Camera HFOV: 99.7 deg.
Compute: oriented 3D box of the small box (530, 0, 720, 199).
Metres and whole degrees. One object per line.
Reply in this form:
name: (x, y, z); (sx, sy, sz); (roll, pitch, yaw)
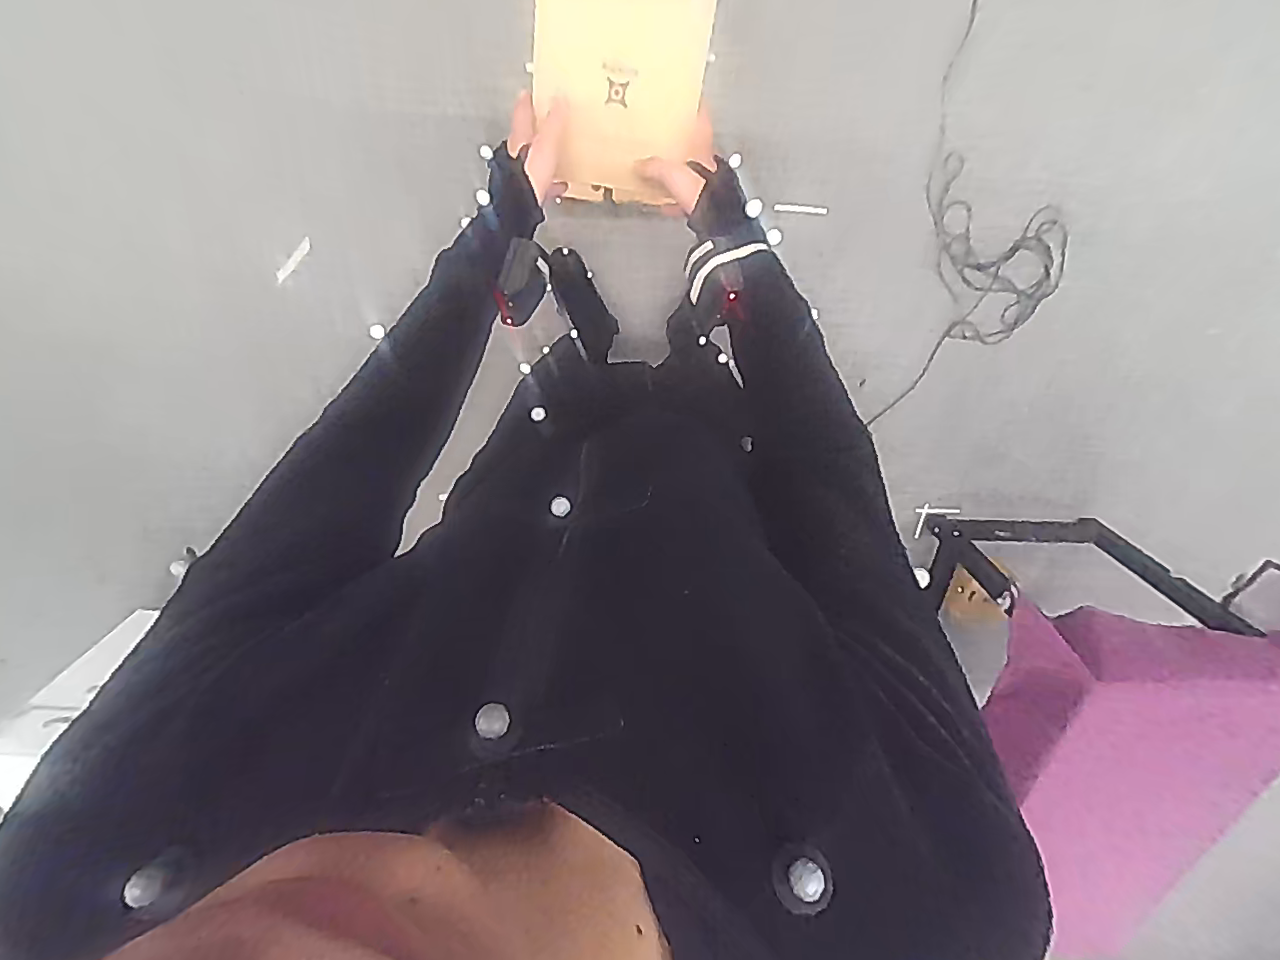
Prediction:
small box: (-0.022, -0.426, 0.591); (0.168, 0.176, 0.179); (7, 123, -5)
